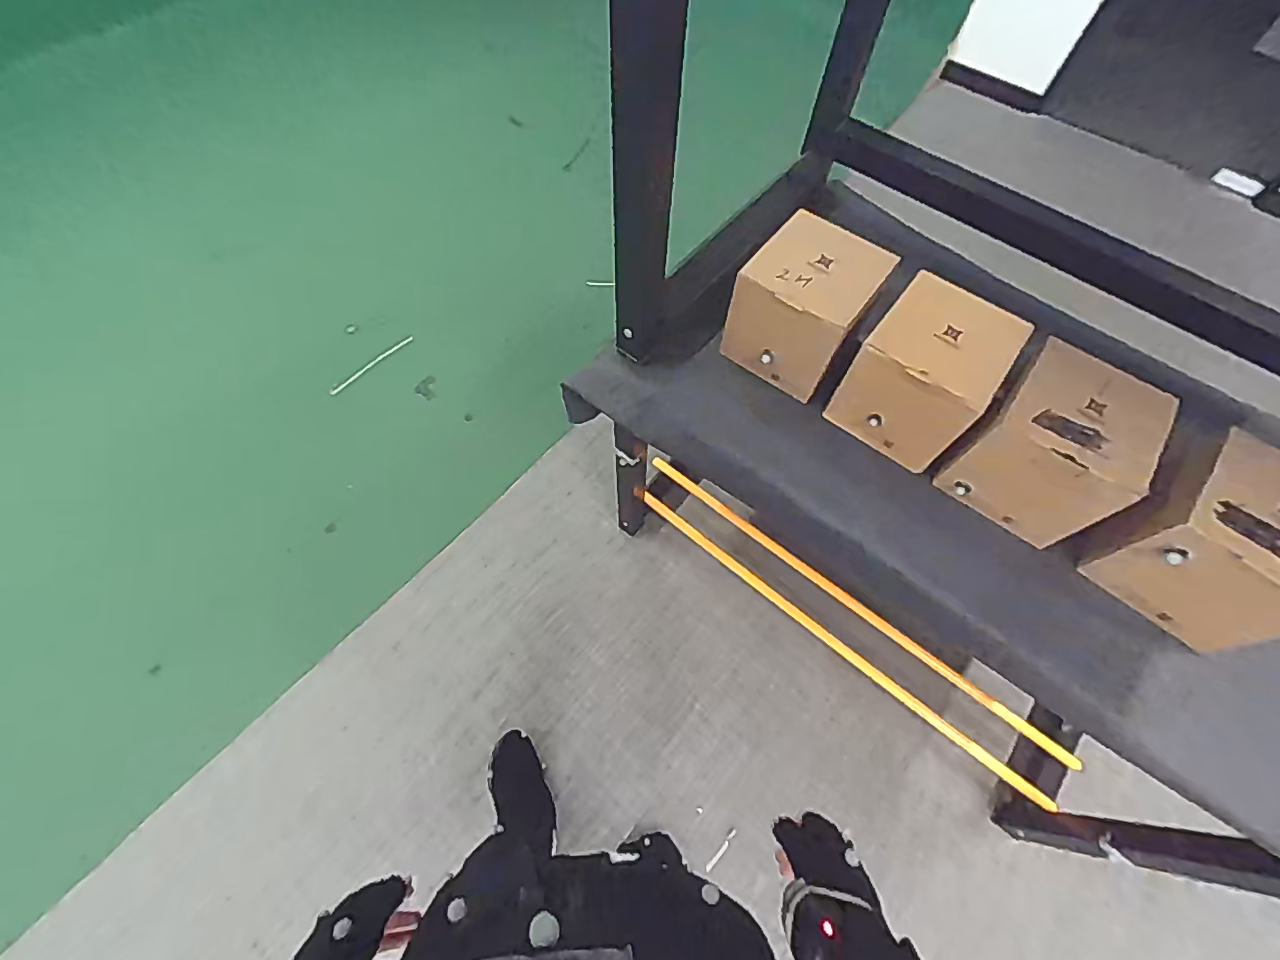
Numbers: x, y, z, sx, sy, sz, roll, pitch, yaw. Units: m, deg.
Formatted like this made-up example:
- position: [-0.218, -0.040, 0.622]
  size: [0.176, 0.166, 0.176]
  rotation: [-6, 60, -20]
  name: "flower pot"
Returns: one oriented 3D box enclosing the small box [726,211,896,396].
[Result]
- position: [0.251, -0.267, 0.835]
  size: [0.168, 0.176, 0.179]
  rotation: [35, 68, 15]
  name: "small box"
